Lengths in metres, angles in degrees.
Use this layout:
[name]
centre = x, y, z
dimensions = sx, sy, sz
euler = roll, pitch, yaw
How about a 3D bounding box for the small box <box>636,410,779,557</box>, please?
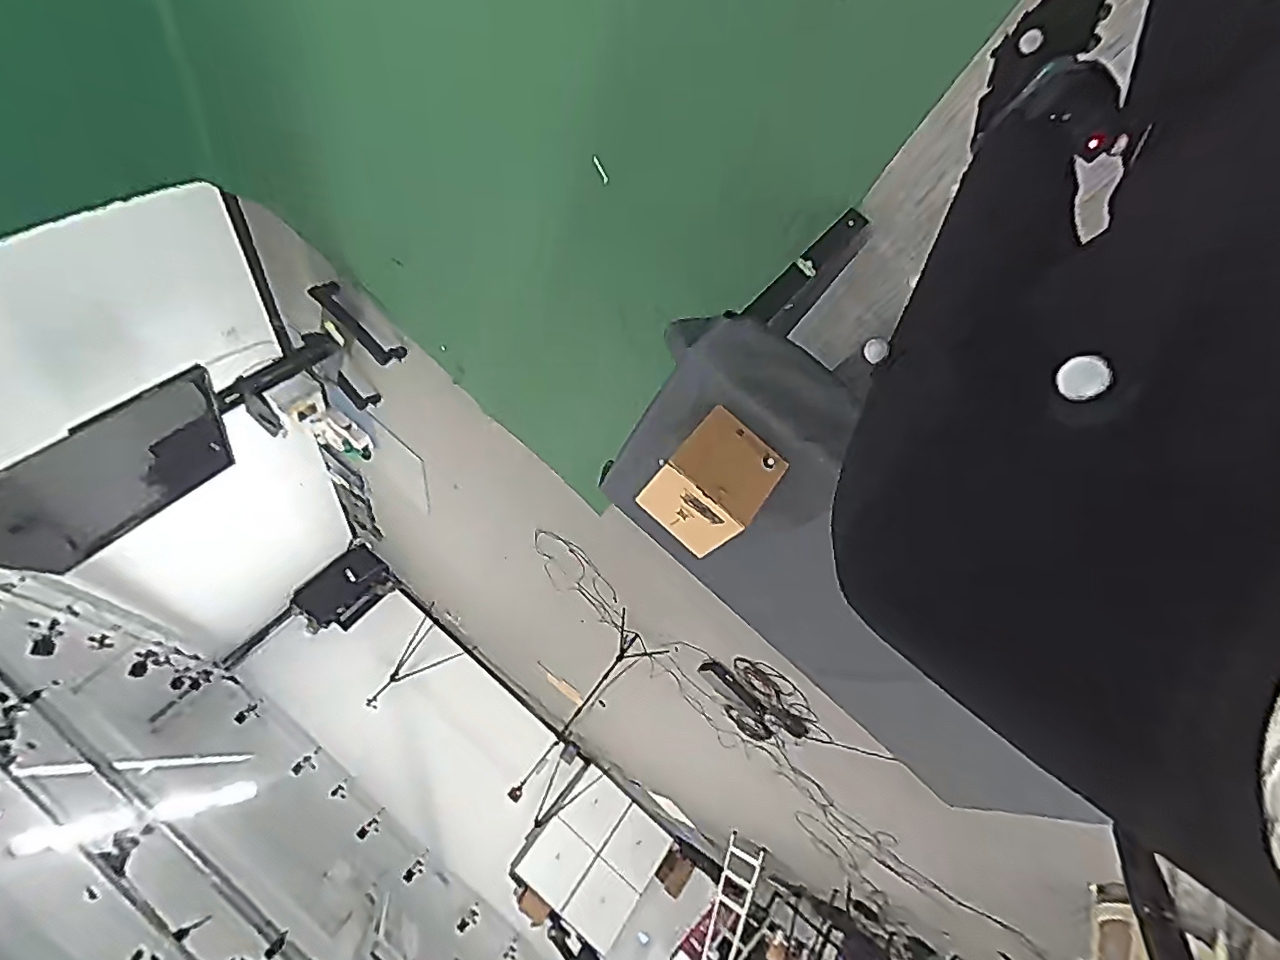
[small box]
centre = 0.125, 0.006, 0.979
dimensions = 0.168, 0.176, 0.179
euler = 41, 150, 1
